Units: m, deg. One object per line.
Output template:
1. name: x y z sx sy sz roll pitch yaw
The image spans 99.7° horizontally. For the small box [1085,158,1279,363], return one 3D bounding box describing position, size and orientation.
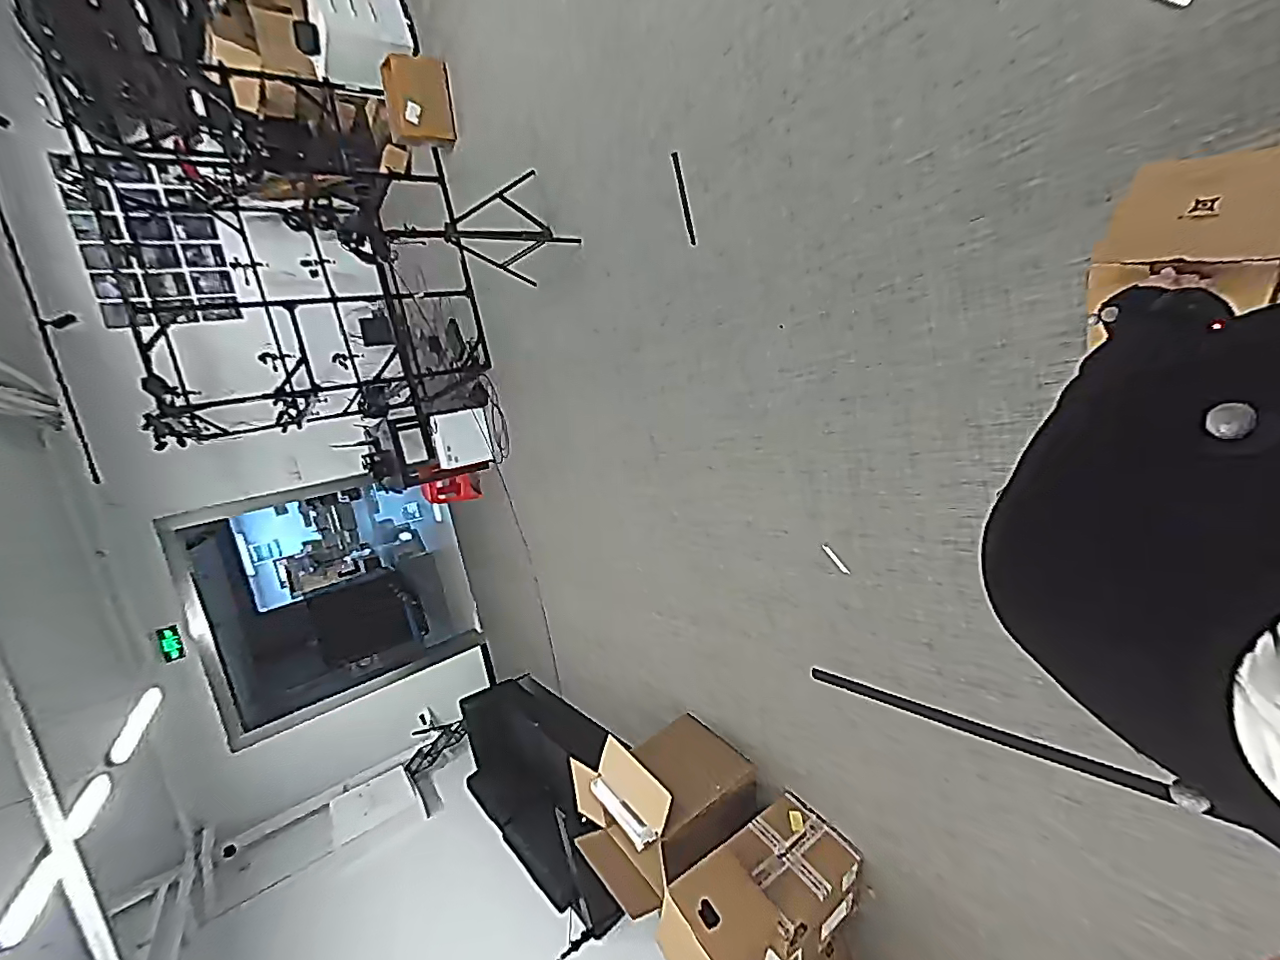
1. small box: 0.708 -0.274 0.698 0.168 0.179 0.176 23 163 45
